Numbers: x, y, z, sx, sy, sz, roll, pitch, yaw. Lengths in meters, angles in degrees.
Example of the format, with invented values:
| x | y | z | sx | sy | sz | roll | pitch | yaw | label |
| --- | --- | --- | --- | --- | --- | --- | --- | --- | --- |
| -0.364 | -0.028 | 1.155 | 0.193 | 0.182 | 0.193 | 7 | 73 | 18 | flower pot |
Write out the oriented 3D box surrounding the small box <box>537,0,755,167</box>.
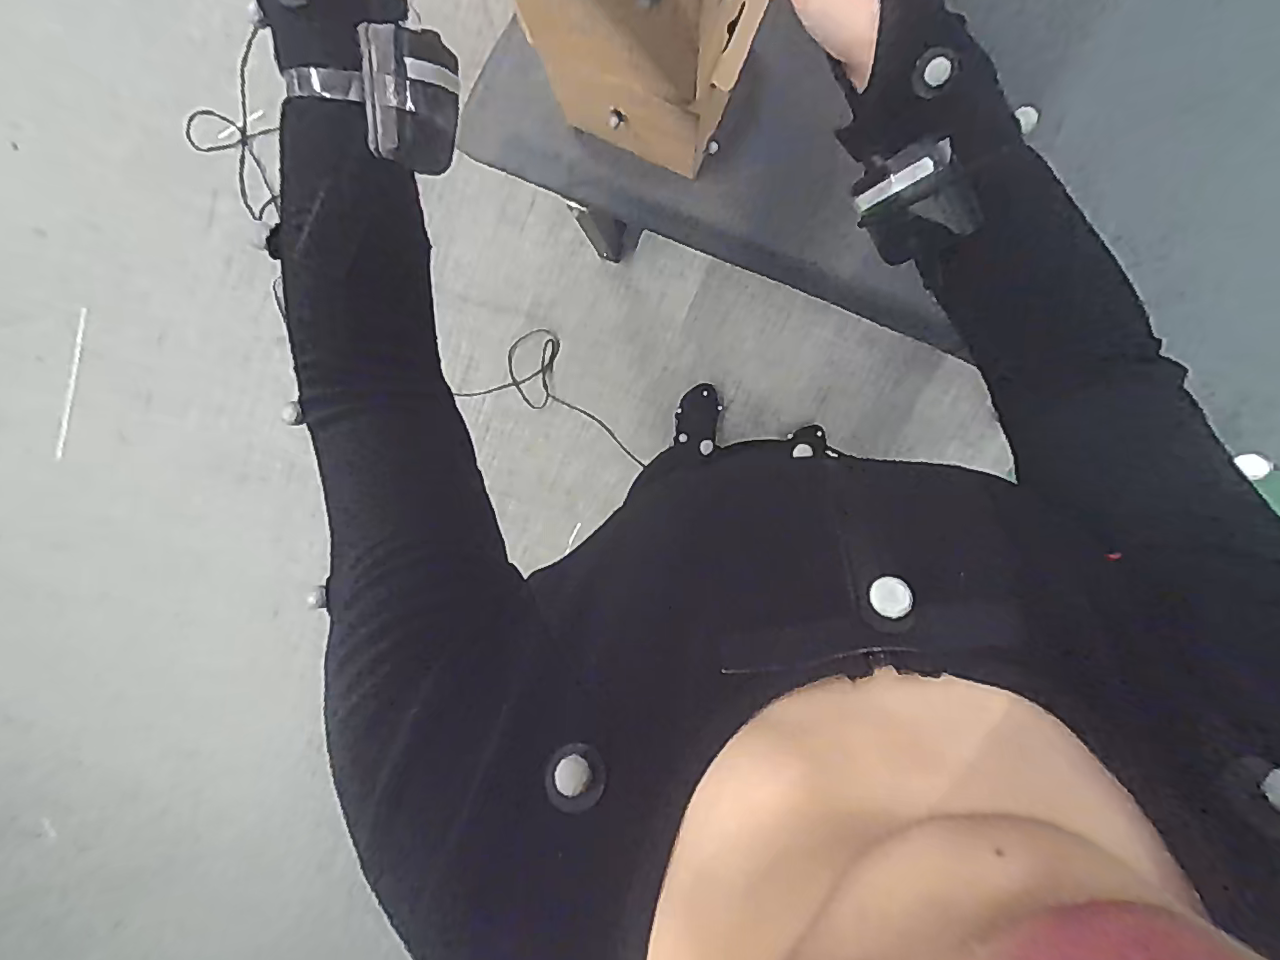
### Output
| x | y | z | sx | sy | sz | roll | pitch | yaw | label |
| --- | --- | --- | --- | --- | --- | --- | --- | --- | --- |
| 0.017 | -0.474 | 0.587 | 0.179 | 0.176 | 0.168 | 24 | 101 | 0 | small box |

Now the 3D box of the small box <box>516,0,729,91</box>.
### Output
| x | y | z | sx | sy | sz | roll | pitch | yaw | label |
| --- | --- | --- | --- | --- | --- | --- | --- | --- | --- |
| -0.008 | -0.455 | 0.427 | 0.179 | 0.176 | 0.168 | 19 | 101 | 1 | small box |
